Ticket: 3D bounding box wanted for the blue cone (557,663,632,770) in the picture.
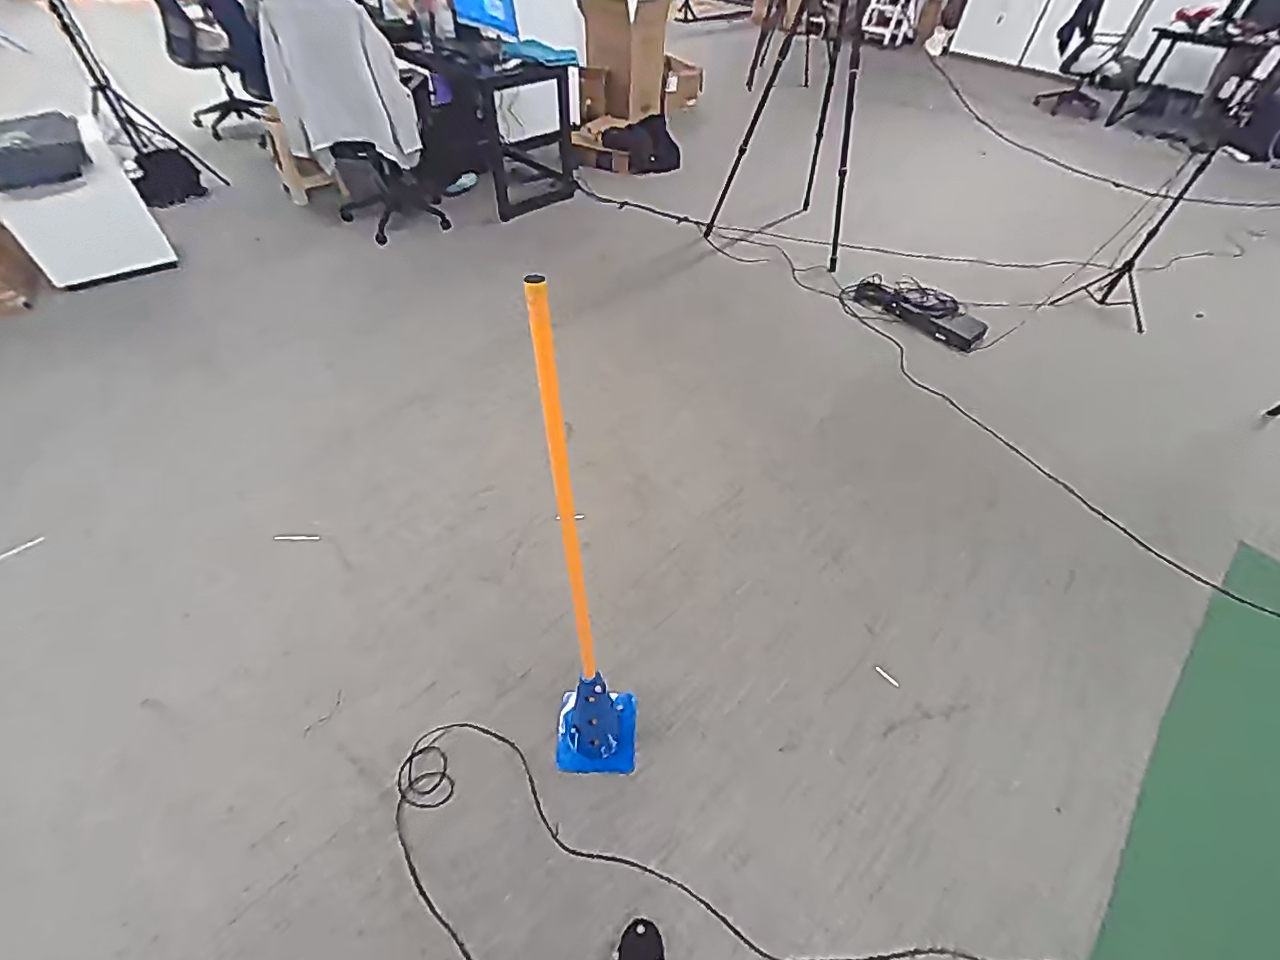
[{"bbox_3d":[-0.111,0.532,1.277,0.192,0.380,0.193,1,46,-1],"label":"blue cone"}]
